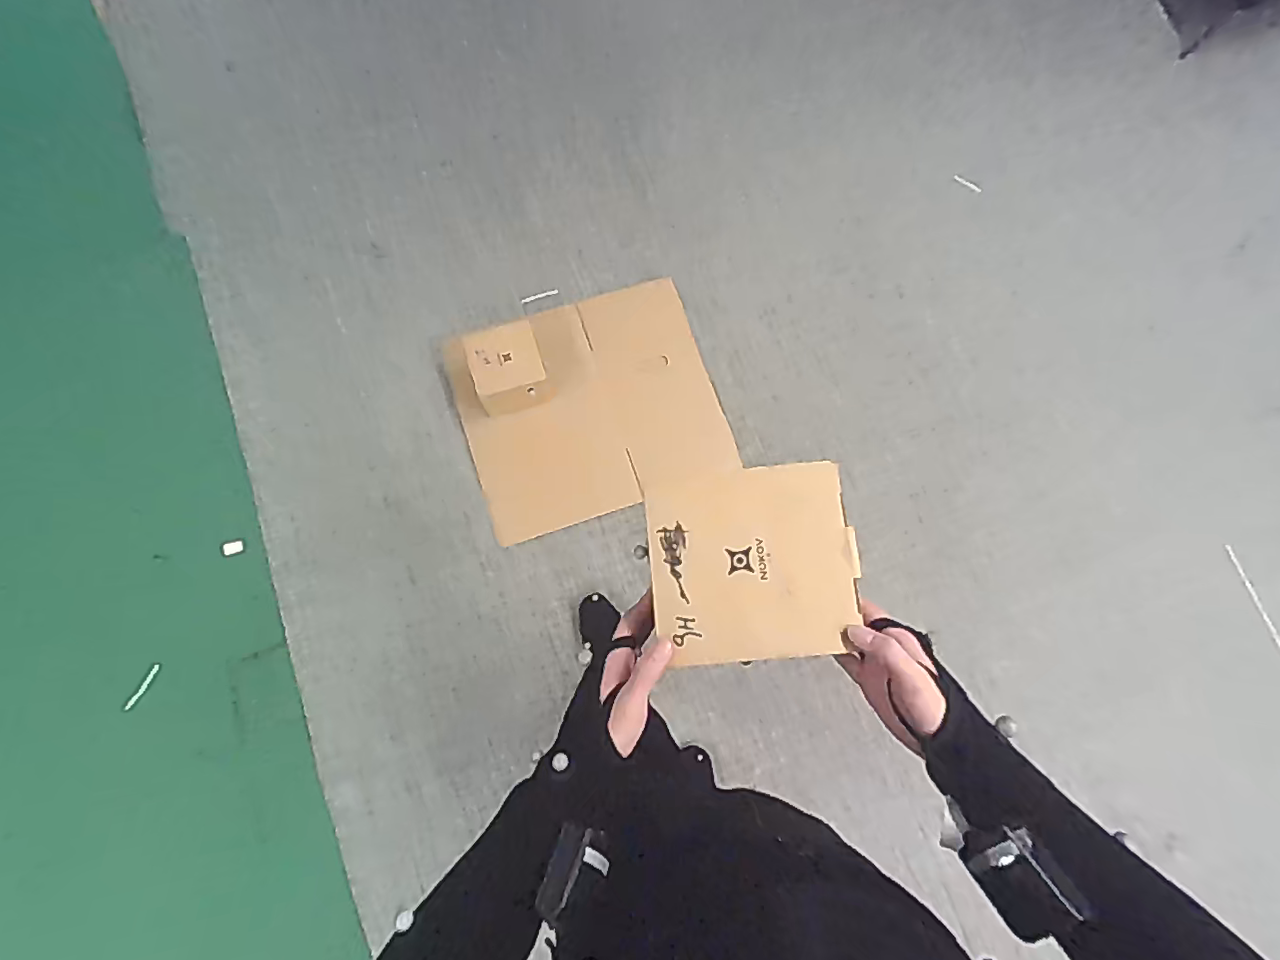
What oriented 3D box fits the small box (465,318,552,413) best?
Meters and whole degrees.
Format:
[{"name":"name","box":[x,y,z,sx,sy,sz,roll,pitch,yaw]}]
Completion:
[{"name":"small box","box":[-0.333,-0.292,1.406,0.179,0.176,0.168,-17,81,-6]}]

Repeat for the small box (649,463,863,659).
[{"name":"small box","box":[0.099,0.083,0.546,0.179,0.176,0.168,-3,78,2]}]
